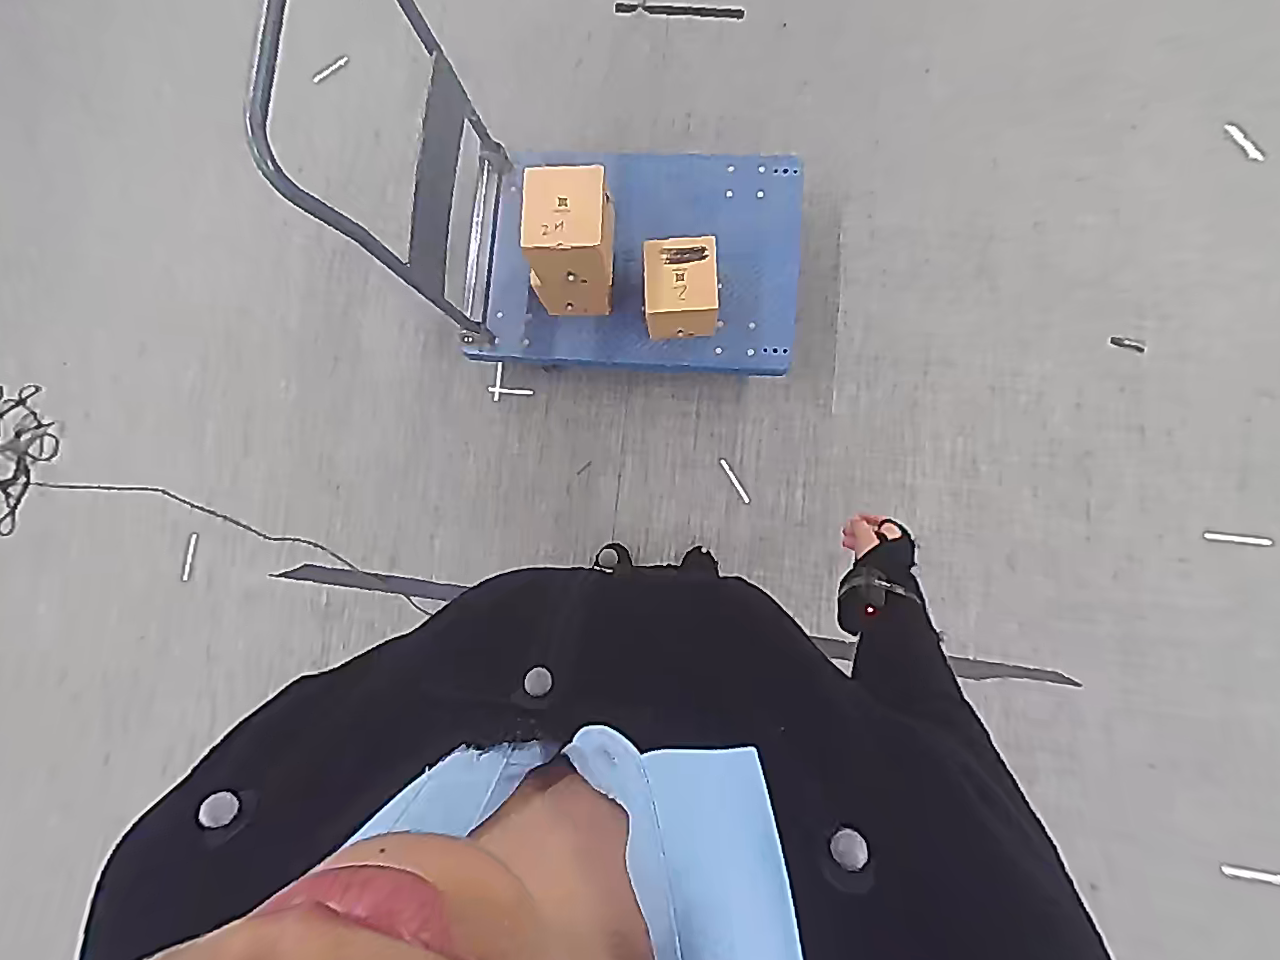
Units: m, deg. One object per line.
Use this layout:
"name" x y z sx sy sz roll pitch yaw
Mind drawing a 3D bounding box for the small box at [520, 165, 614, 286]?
"small box" -0.149 -0.540 1.159 0.168 0.176 0.179 2 85 5

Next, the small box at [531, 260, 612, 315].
"small box" -0.162 -0.523 1.325 0.168 0.176 0.179 1 84 5
